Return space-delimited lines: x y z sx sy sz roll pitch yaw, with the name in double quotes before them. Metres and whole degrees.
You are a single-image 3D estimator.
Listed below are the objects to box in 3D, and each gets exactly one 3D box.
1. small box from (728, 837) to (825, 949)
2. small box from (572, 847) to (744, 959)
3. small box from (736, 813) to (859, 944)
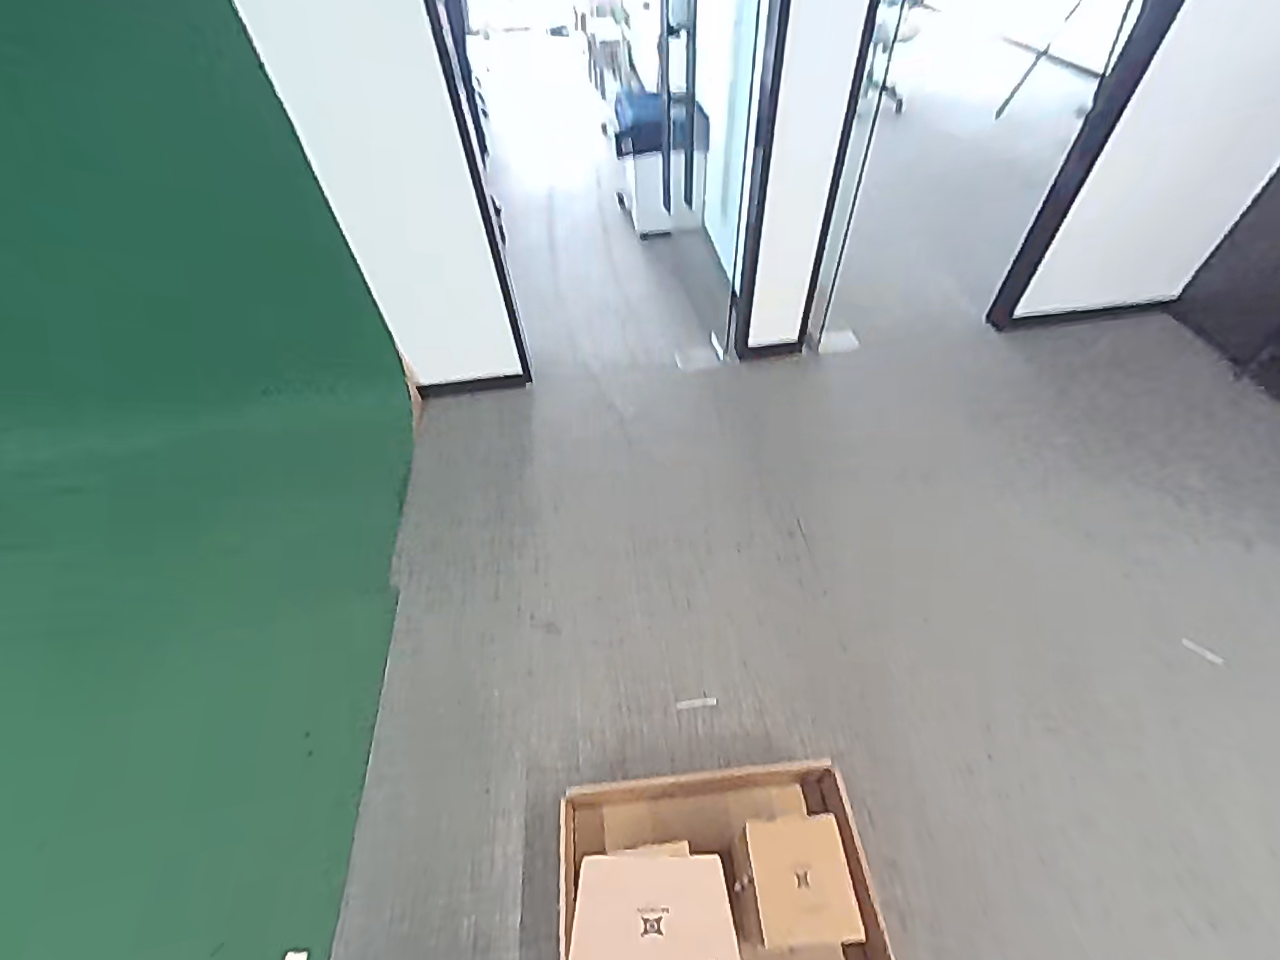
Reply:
"small box" 0.284 0.841 1.117 0.168 0.176 0.179 -6 50 -2
"small box" 0.018 0.528 0.567 0.168 0.179 0.176 -2 94 -1
"small box" 0.276 0.733 0.994 0.168 0.176 0.179 -5 50 0
